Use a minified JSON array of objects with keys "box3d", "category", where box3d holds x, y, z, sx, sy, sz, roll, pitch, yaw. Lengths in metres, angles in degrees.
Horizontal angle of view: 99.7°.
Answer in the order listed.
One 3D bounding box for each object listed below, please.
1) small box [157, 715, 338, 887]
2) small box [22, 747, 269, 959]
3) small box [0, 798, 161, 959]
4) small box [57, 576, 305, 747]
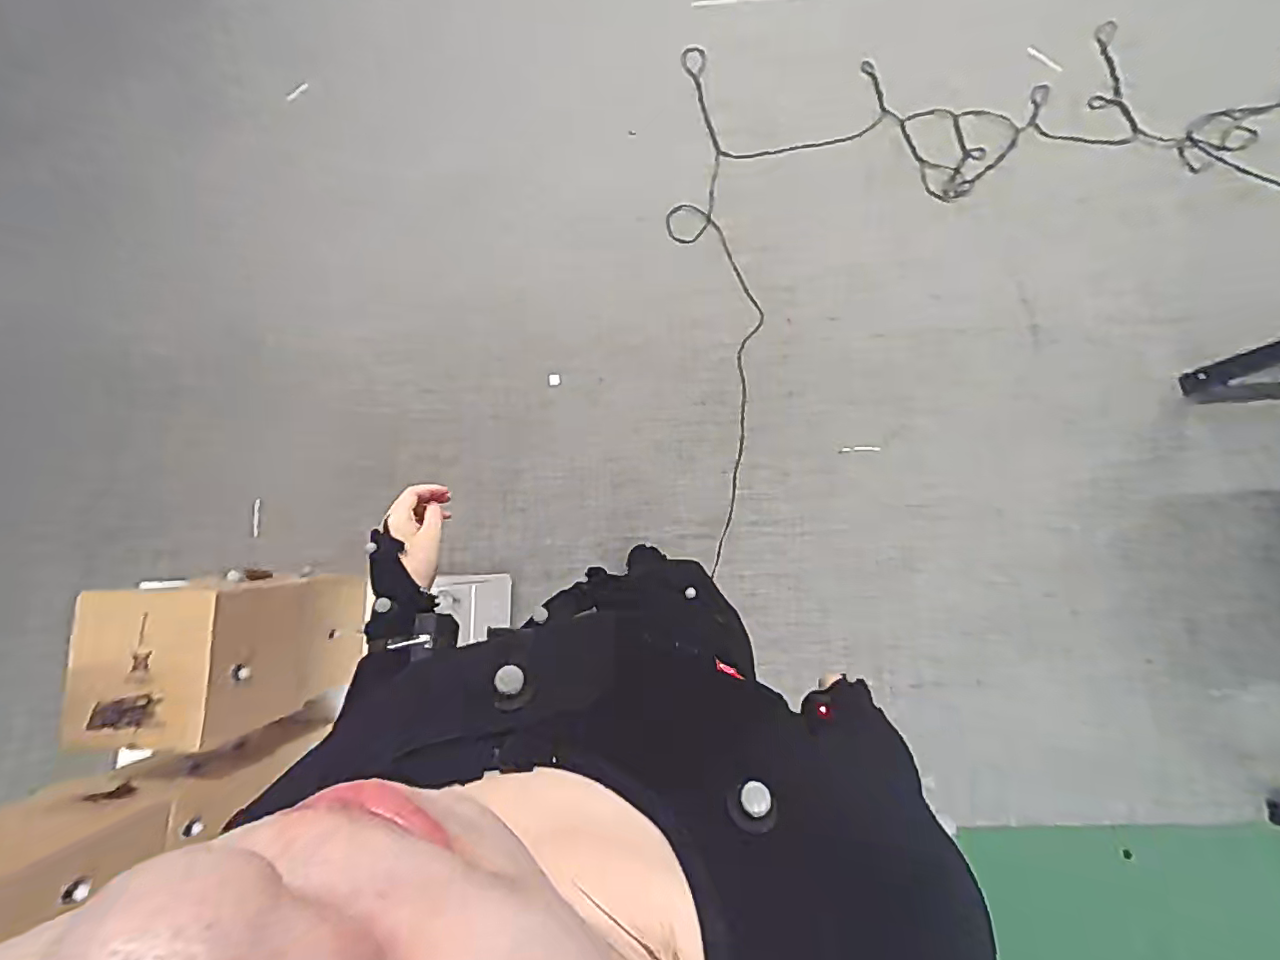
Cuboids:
[{"box3d":[-0.580,0.465,0.806,0.168,0.176,0.179,-2,79,1],"category":"small box"},{"box3d":[-0.583,0.437,0.645,0.168,0.176,0.179,-1,79,2],"category":"small box"},{"box3d":[-0.587,0.407,0.485,0.168,0.176,0.179,-2,80,3],"category":"small box"},{"box3d":[-0.553,0.214,0.677,0.168,0.176,0.179,-1,82,2],"category":"small box"}]
